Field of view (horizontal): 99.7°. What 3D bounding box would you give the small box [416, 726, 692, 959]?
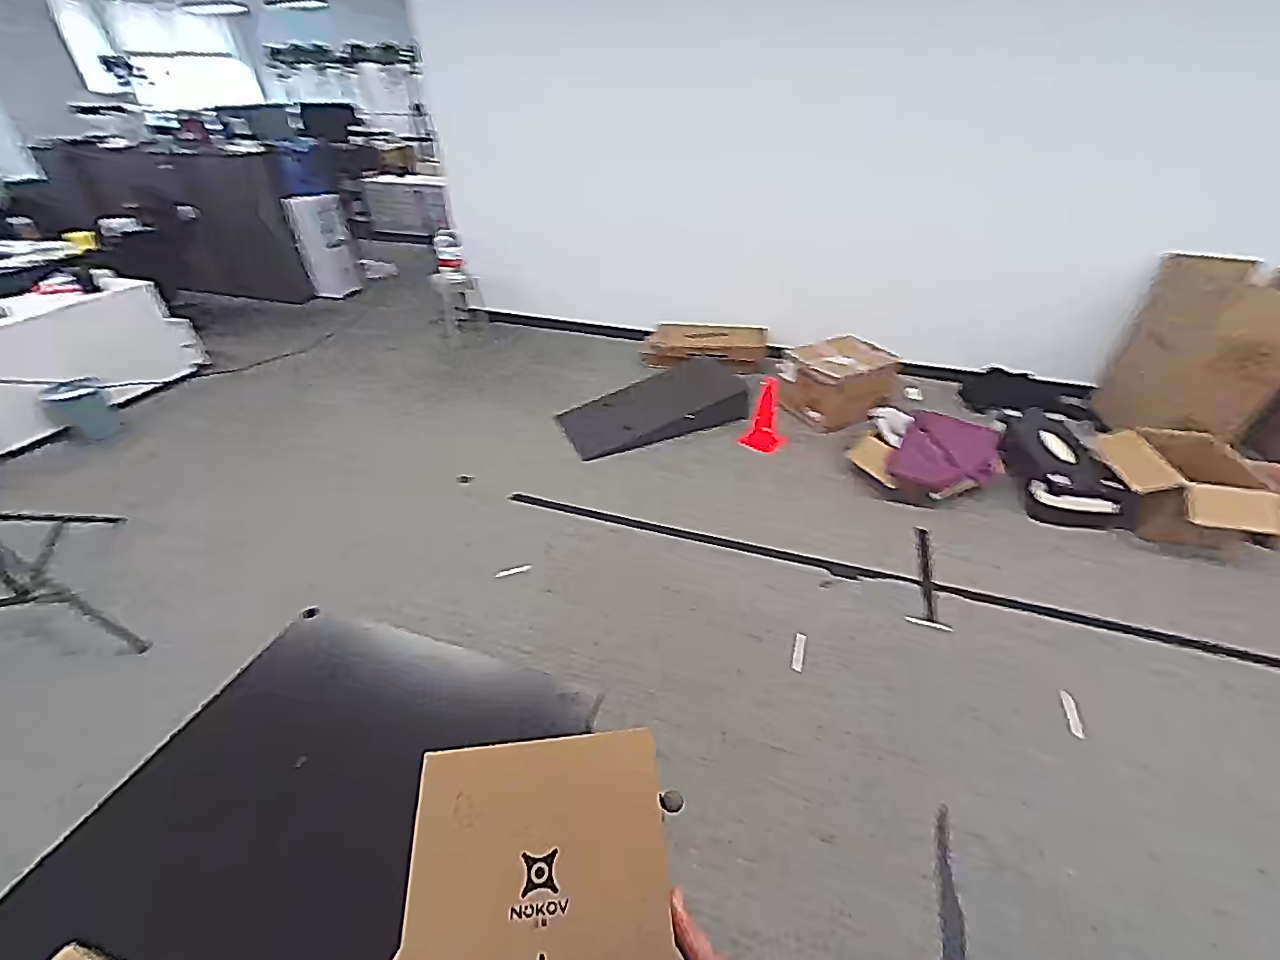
[{"bbox_3d":[-0.052,0.303,0.406,0.168,0.176,0.179,-6,54,-1],"label":"small box"}]
